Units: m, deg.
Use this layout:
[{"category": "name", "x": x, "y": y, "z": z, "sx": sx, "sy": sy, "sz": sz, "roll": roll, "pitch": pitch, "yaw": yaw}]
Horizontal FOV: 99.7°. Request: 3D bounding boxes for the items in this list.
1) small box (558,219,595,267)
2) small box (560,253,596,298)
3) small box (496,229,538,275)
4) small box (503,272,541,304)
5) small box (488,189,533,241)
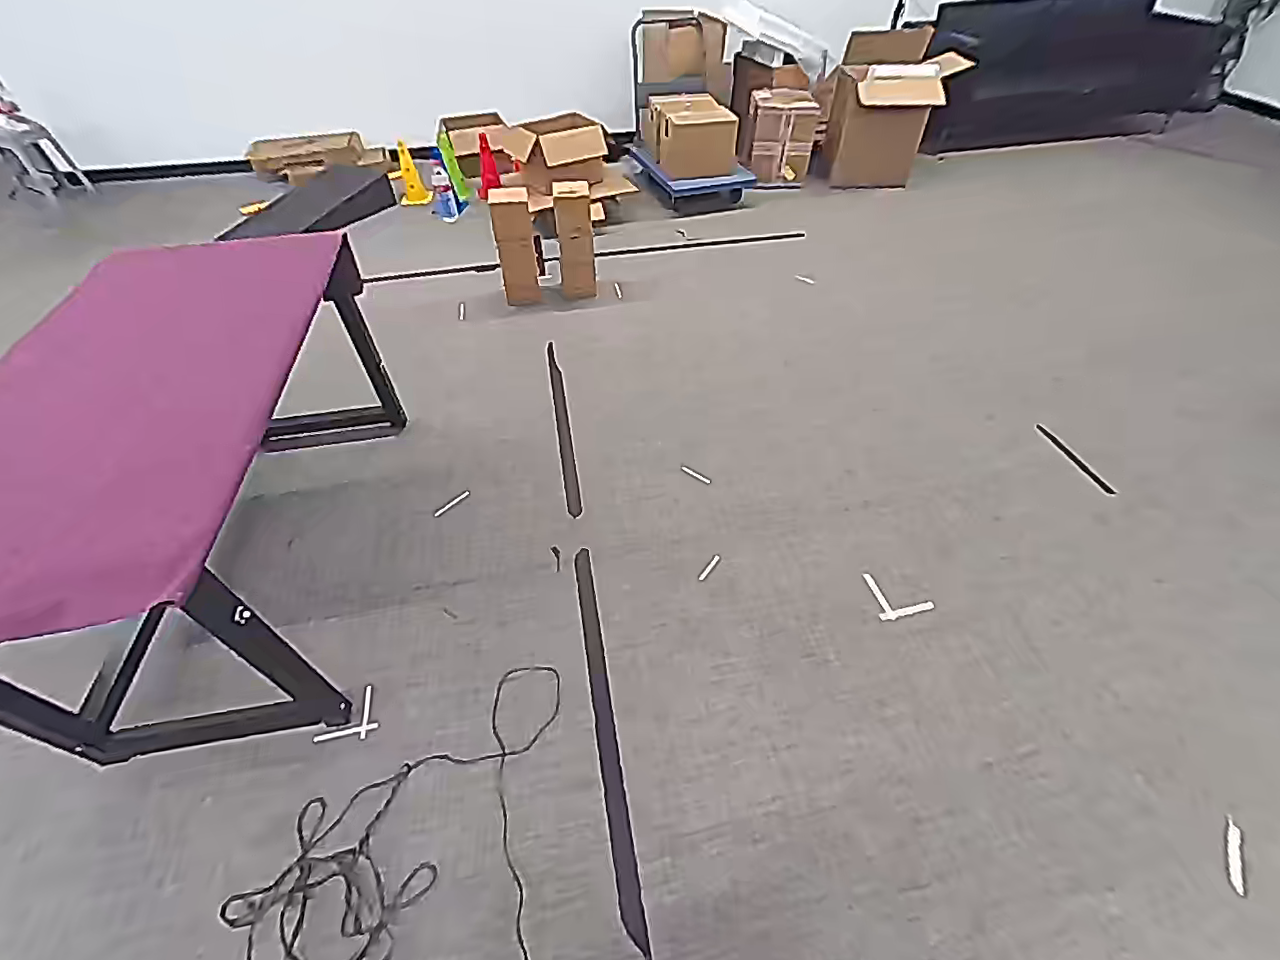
[{"category": "small box", "x": -0.312, "y": -1.160, "z": 2.654, "sx": 0.168, "sy": 0.176, "sz": 0.179, "roll": -6, "pitch": 48, "yaw": -6}, {"category": "small box", "x": -0.316, "y": -1.053, "z": 2.780, "sx": 0.179, "sy": 0.176, "sz": 0.168, "roll": -4, "pitch": 48, "yaw": -5}, {"category": "small box", "x": -0.594, "y": -1.105, "z": 2.608, "sx": 0.179, "sy": 0.176, "sz": 0.168, "roll": -8, "pitch": 48, "yaw": -9}, {"category": "small box", "x": -0.600, "y": -1.002, "z": 2.733, "sx": 0.168, "sy": 0.176, "sz": 0.179, "roll": -8, "pitch": 47, "yaw": -9}, {"category": "small box", "x": -0.594, "y": -1.217, "z": 2.486, "sx": 0.179, "sy": 0.176, "sz": 0.168, "roll": -7, "pitch": 49, "yaw": -9}]
